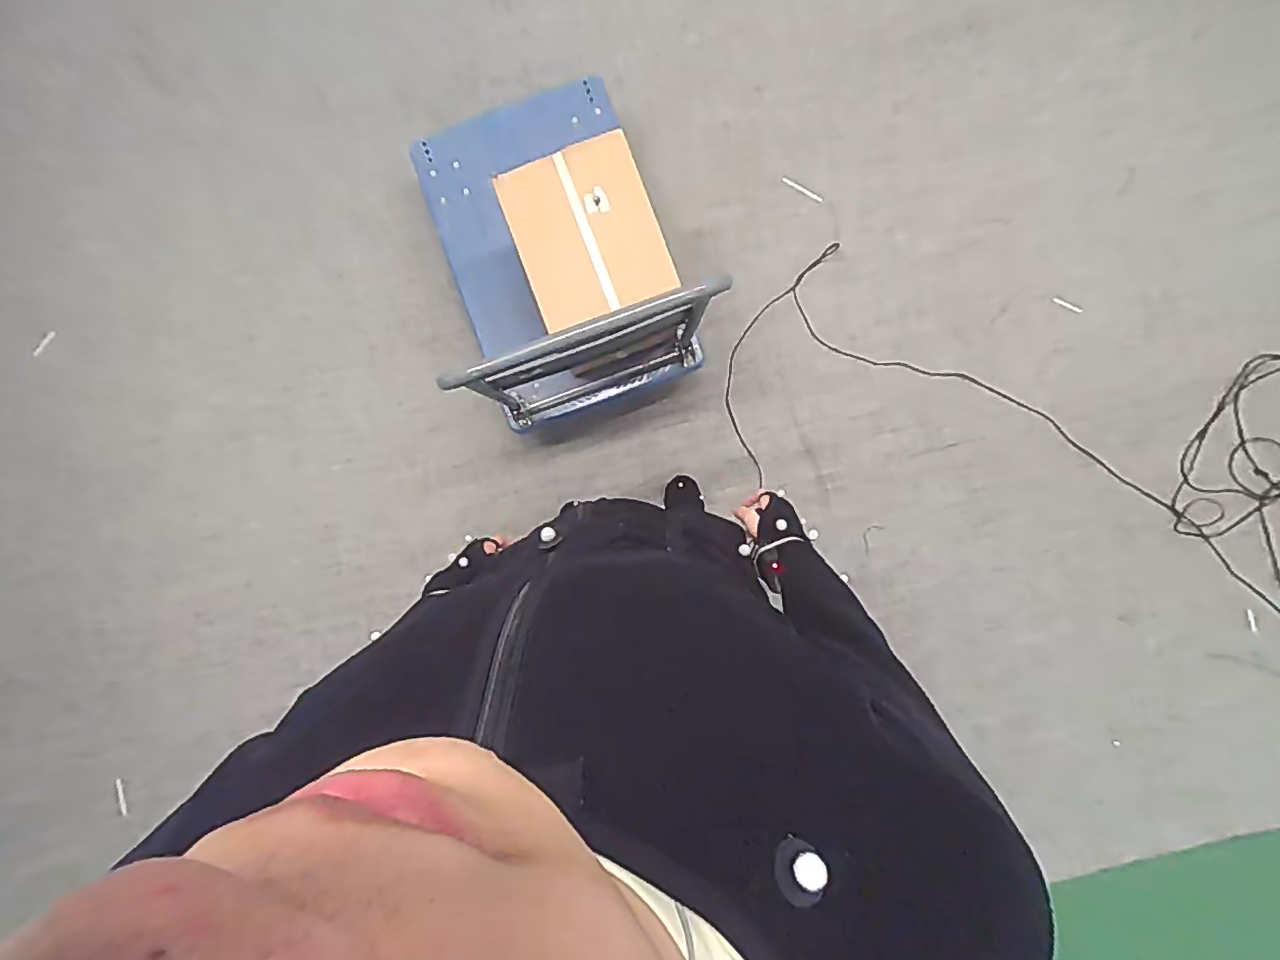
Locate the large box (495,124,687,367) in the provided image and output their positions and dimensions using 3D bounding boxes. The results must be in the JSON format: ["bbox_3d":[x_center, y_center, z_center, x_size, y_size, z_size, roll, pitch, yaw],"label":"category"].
[{"bbox_3d":[-0.104,-0.547,1.339,0.320,0.320,0.408,-21,89,0],"label":"large box"}]
